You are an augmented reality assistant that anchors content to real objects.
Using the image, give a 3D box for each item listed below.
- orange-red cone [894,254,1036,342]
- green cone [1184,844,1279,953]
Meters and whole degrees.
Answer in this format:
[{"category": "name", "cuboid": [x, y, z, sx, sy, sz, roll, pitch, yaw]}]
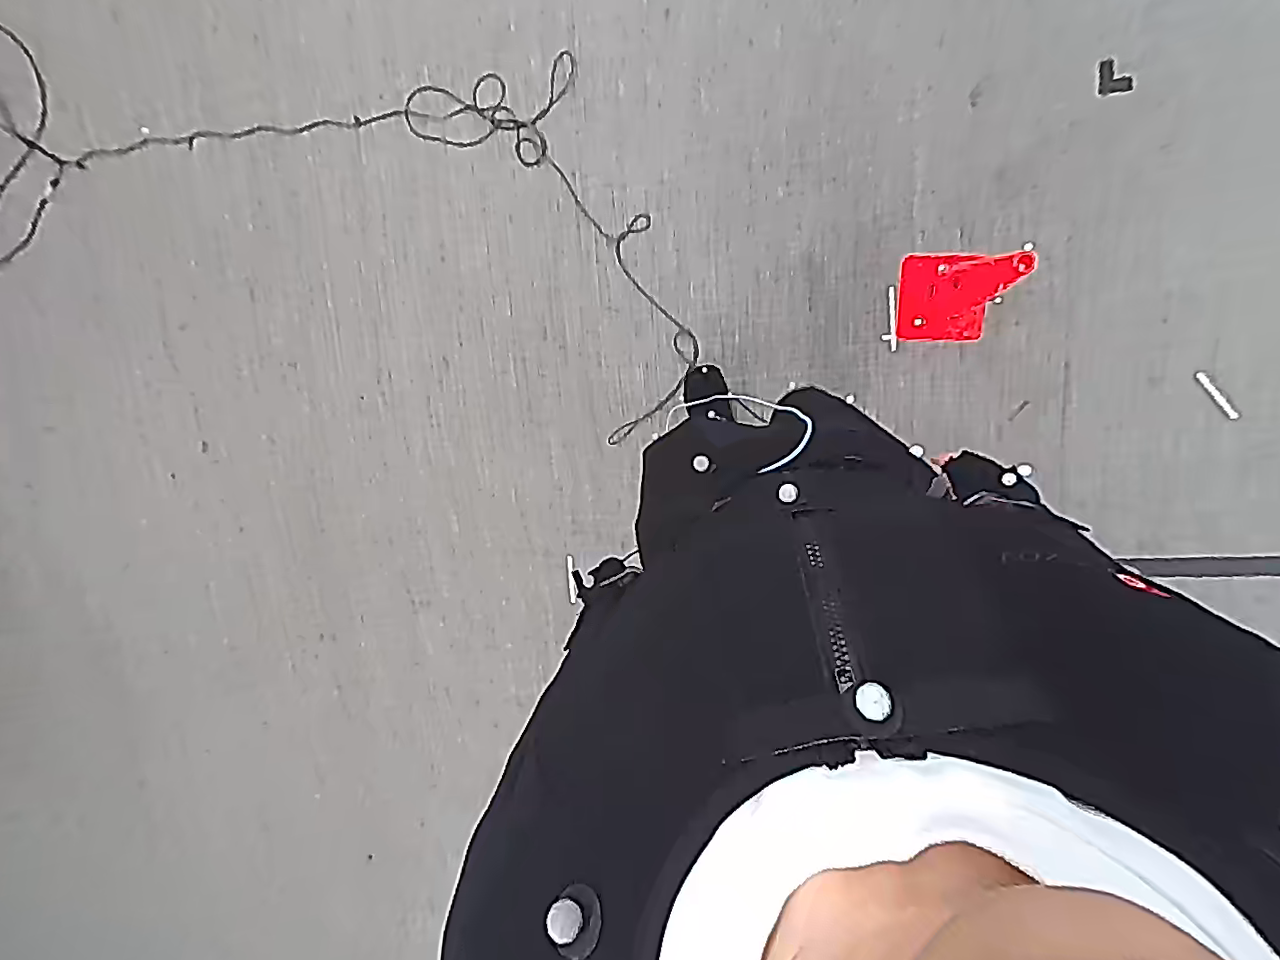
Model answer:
[{"category": "orange-red cone", "cuboid": [0.698, -0.407, 1.120, 0.199, 0.360, 0.198, 4, 99, 6]}, {"category": "green cone", "cuboid": [1.514, 1.066, 1.232, 0.202, 0.368, 0.200, -19, 95, 11]}]
